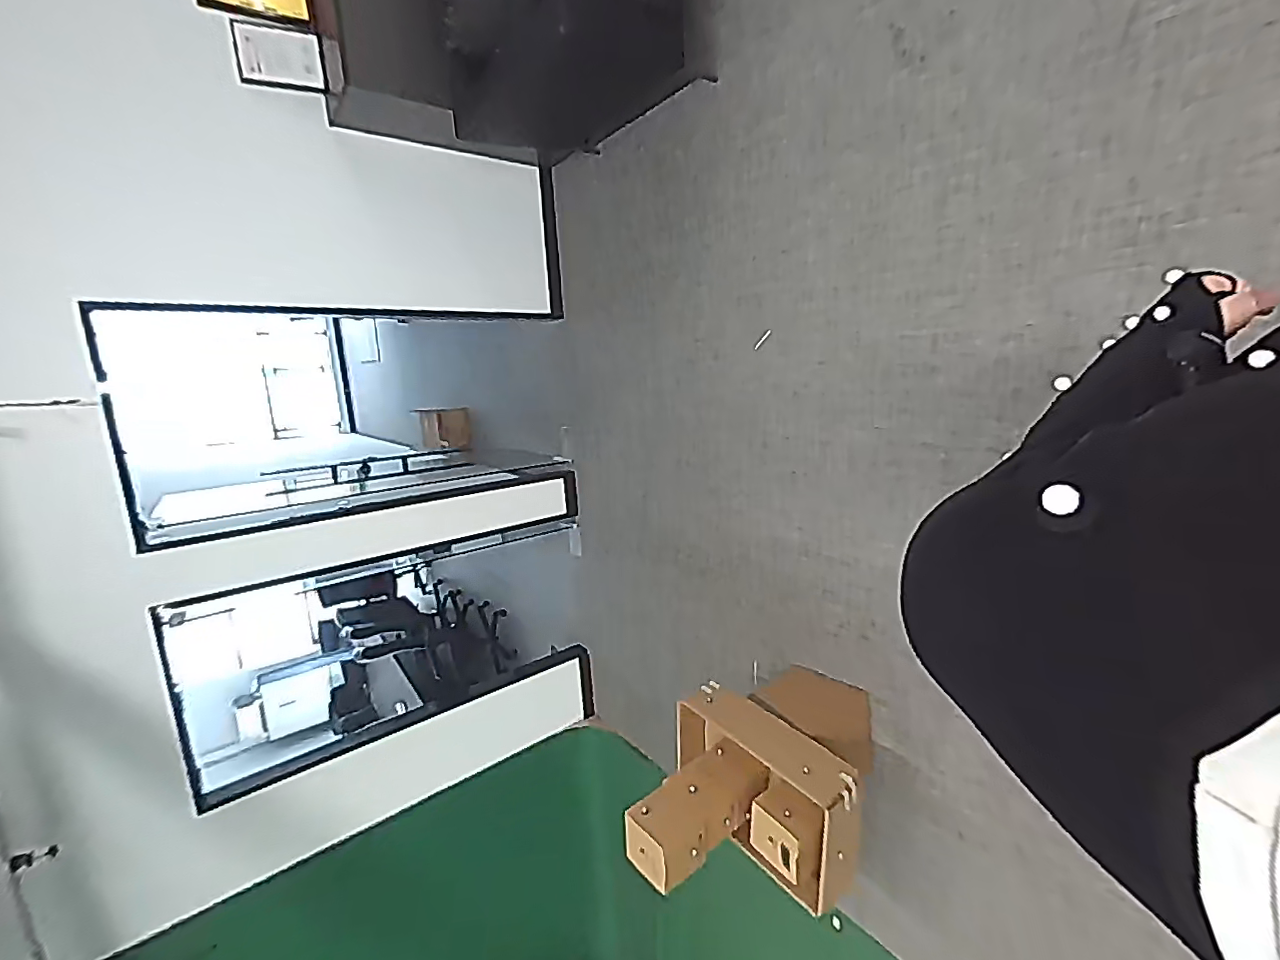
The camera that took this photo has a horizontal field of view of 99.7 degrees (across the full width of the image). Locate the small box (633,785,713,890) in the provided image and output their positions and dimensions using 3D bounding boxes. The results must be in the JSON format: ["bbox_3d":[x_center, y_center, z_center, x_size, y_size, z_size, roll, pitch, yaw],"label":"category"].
[{"bbox_3d":[0.099,1.060,1.626,0.179,0.176,0.168,12,109,49],"label":"small box"}]

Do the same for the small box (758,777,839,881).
[{"bbox_3d":[0.485,1.051,1.650,0.179,0.176,0.168,18,113,52],"label":"small box"}]

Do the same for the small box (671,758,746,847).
[{"bbox_3d":[0.218,1.031,1.738,0.179,0.176,0.168,15,110,49],"label":"small box"}]
